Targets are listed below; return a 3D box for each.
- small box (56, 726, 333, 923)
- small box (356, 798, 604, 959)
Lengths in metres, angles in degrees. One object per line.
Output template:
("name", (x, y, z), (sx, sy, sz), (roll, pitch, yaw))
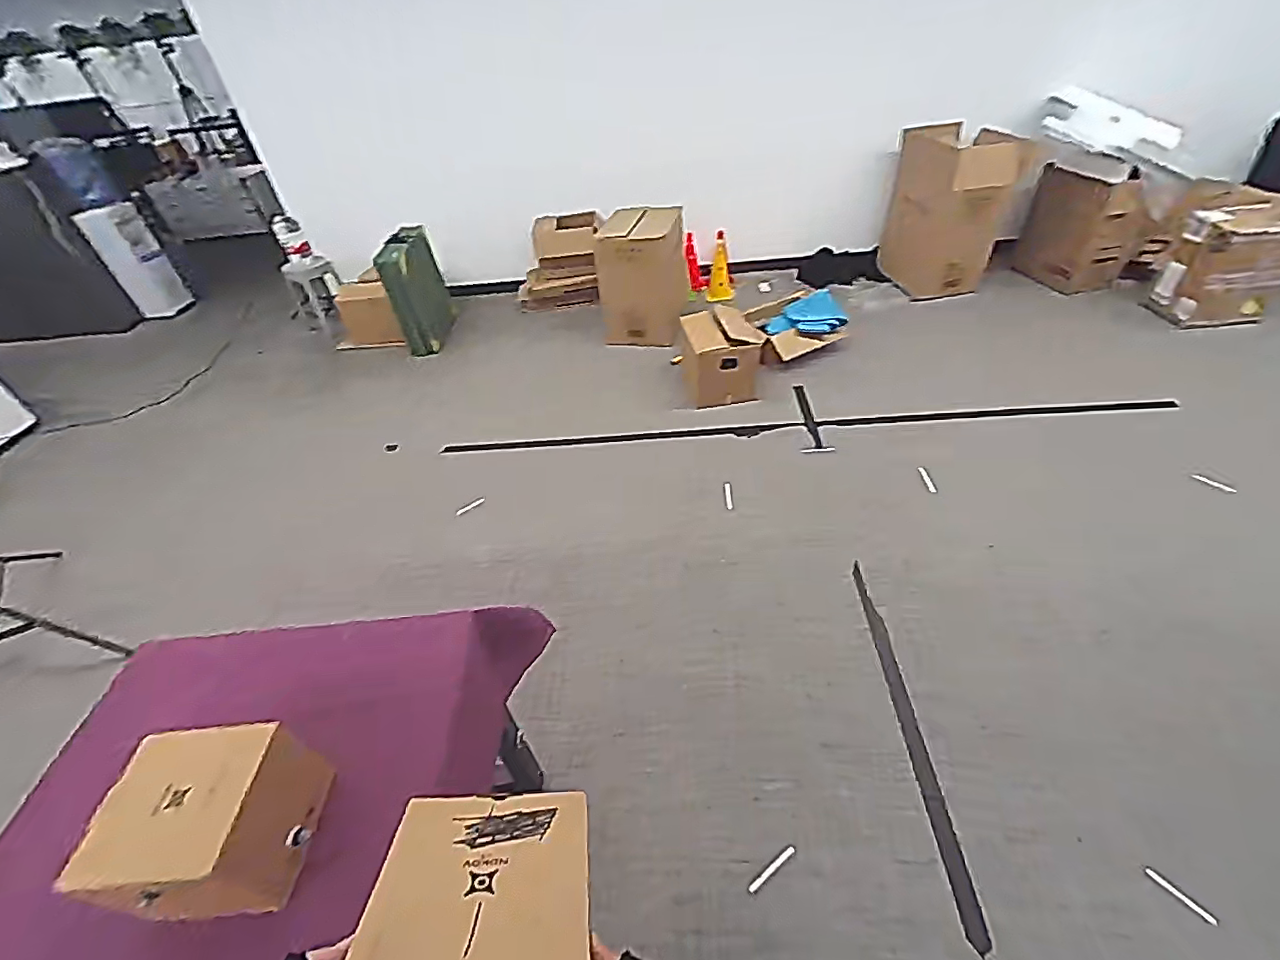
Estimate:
("small box", (-0.535, 0.437, 0.685), (0.179, 0.176, 0.168), (-6, 42, 0))
("small box", (-0.115, 0.393, 0.434), (0.168, 0.176, 0.179), (0, 5, -7))
